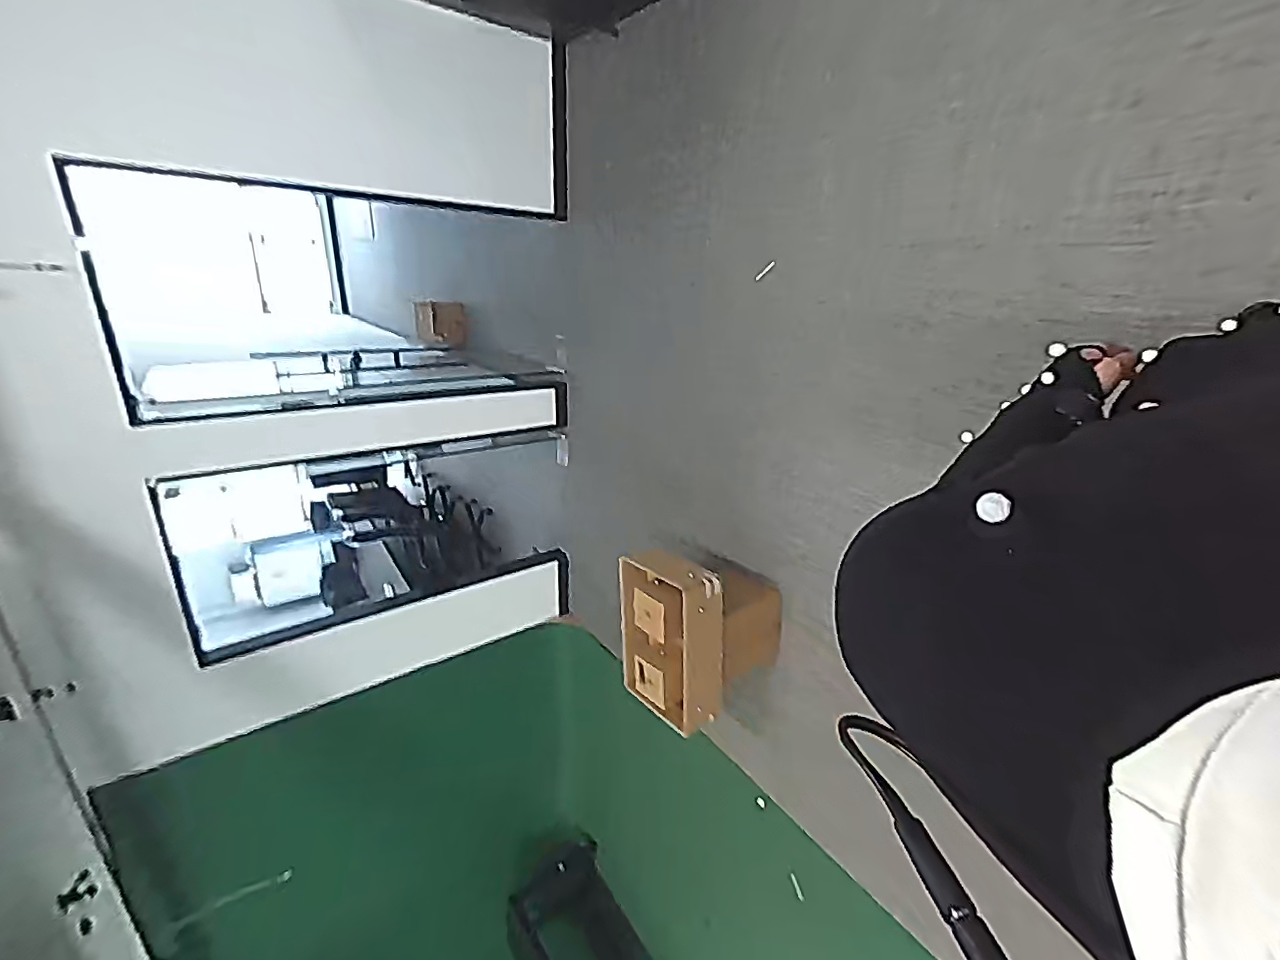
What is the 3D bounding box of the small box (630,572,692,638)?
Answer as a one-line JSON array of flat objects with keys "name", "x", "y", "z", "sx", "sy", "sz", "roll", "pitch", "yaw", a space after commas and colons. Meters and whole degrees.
[{"name": "small box", "x": 0.079, "y": 0.468, "z": 2.058, "sx": 0.179, "sy": 0.176, "sz": 0.168, "roll": 21, "pitch": 118, "yaw": 49}]
